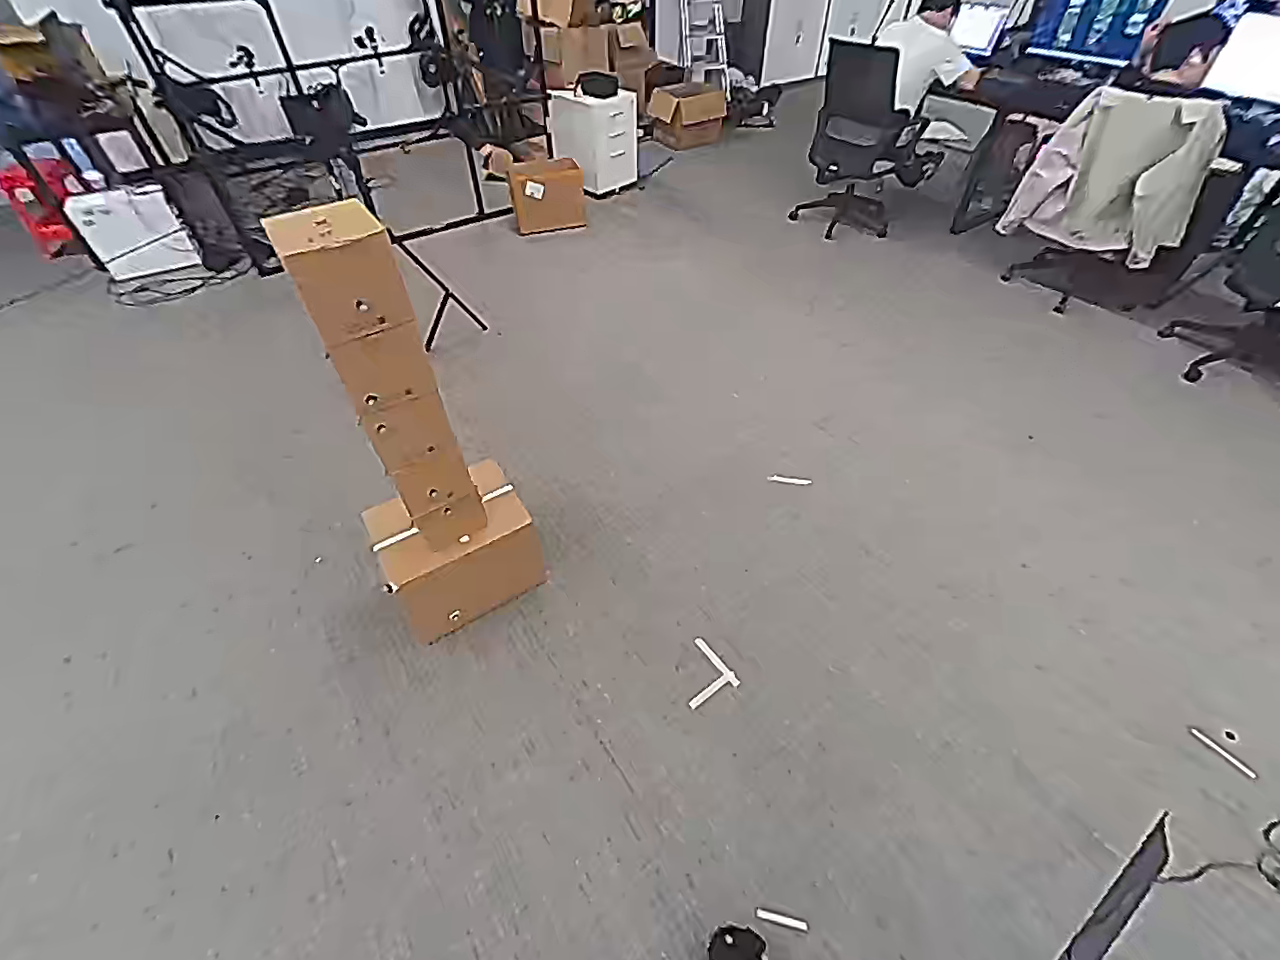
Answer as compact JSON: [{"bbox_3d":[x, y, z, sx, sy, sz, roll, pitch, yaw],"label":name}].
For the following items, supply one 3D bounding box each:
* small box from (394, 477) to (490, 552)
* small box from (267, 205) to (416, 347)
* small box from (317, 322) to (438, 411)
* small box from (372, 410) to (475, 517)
[{"bbox_3d":[-0.535,0.064,1.474,0.179,0.176,0.168,-28,53,-24],"label":"small box"},{"bbox_3d":[-0.536,-0.371,0.983,0.168,0.176,0.179,-28,54,-22],"label":"small box"},{"bbox_3d":[-0.536,-0.260,1.106,0.168,0.176,0.179,-26,52,-21],"label":"small box"},{"bbox_3d":[-0.536,-0.040,1.349,0.168,0.176,0.179,-28,54,-22],"label":"small box"}]
